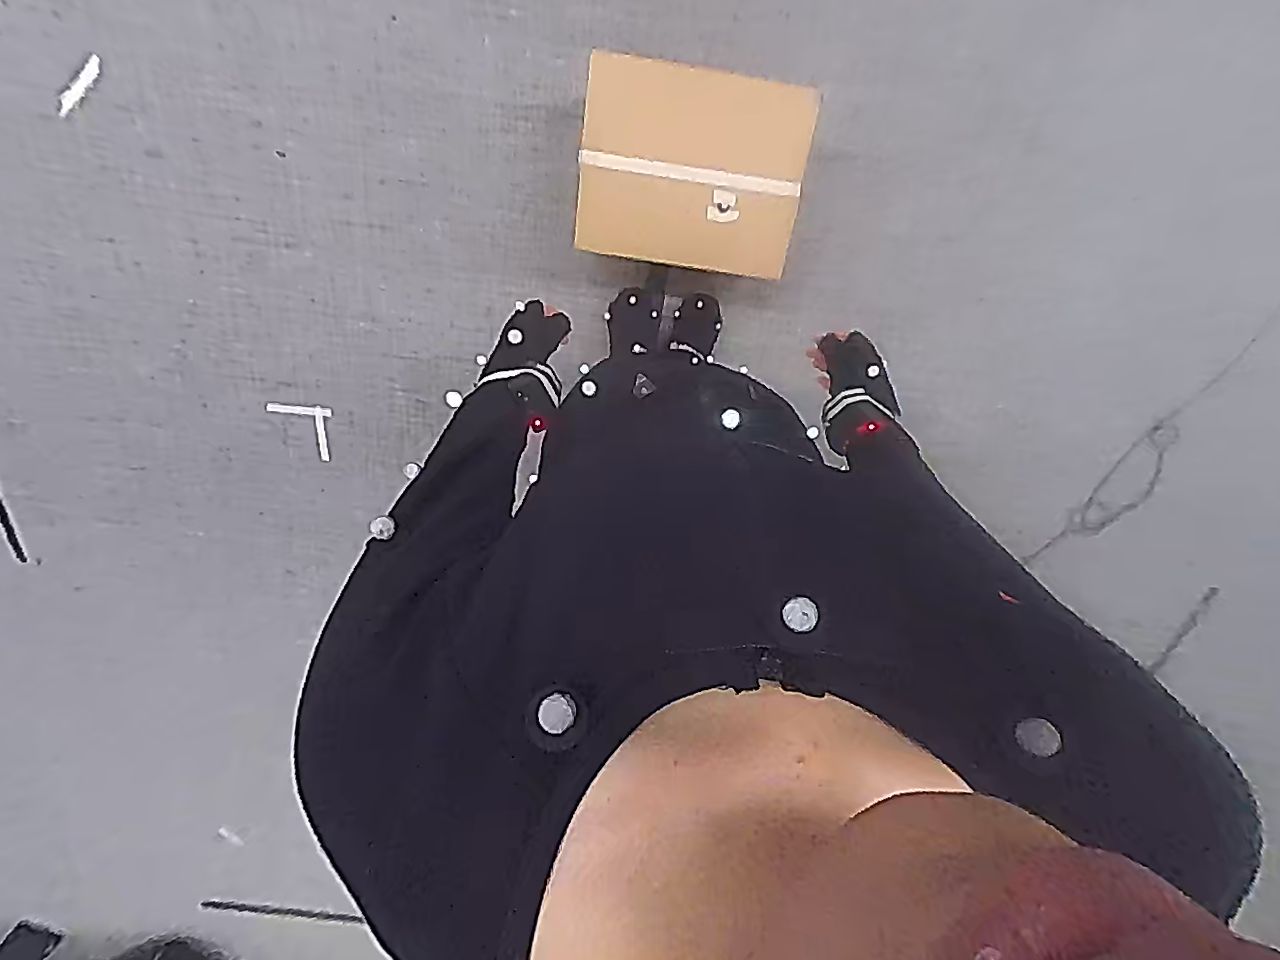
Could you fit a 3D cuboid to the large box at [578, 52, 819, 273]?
[{"bbox_3d":[0.091,-0.619,1.112,0.408,0.320,0.320,7,115,-4],"label":"large box"}]
